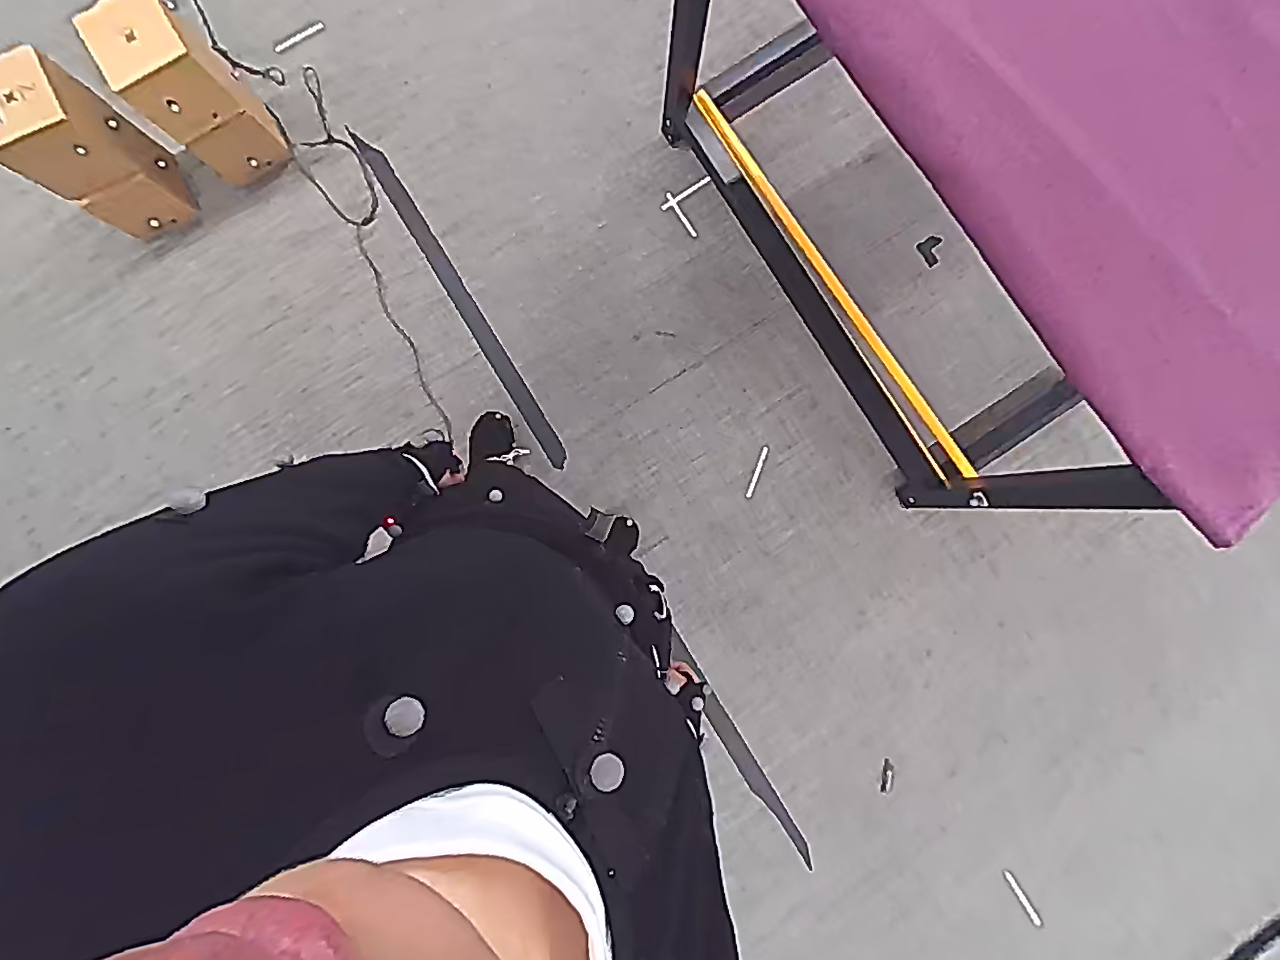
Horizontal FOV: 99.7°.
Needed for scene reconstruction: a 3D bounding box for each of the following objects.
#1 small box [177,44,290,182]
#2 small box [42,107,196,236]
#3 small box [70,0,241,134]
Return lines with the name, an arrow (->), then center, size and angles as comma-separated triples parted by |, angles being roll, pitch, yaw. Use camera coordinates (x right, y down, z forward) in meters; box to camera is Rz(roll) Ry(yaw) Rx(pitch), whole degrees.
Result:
small box -> -0.990, -0.860, 1.285 | 0.168, 0.176, 0.179 | -31, 89, -1
small box -> -1.213, -0.716, 1.273 | 0.168, 0.176, 0.179 | -25, 90, -2
small box -> -0.989, -0.864, 1.122 | 0.168, 0.176, 0.179 | -31, 88, -1
